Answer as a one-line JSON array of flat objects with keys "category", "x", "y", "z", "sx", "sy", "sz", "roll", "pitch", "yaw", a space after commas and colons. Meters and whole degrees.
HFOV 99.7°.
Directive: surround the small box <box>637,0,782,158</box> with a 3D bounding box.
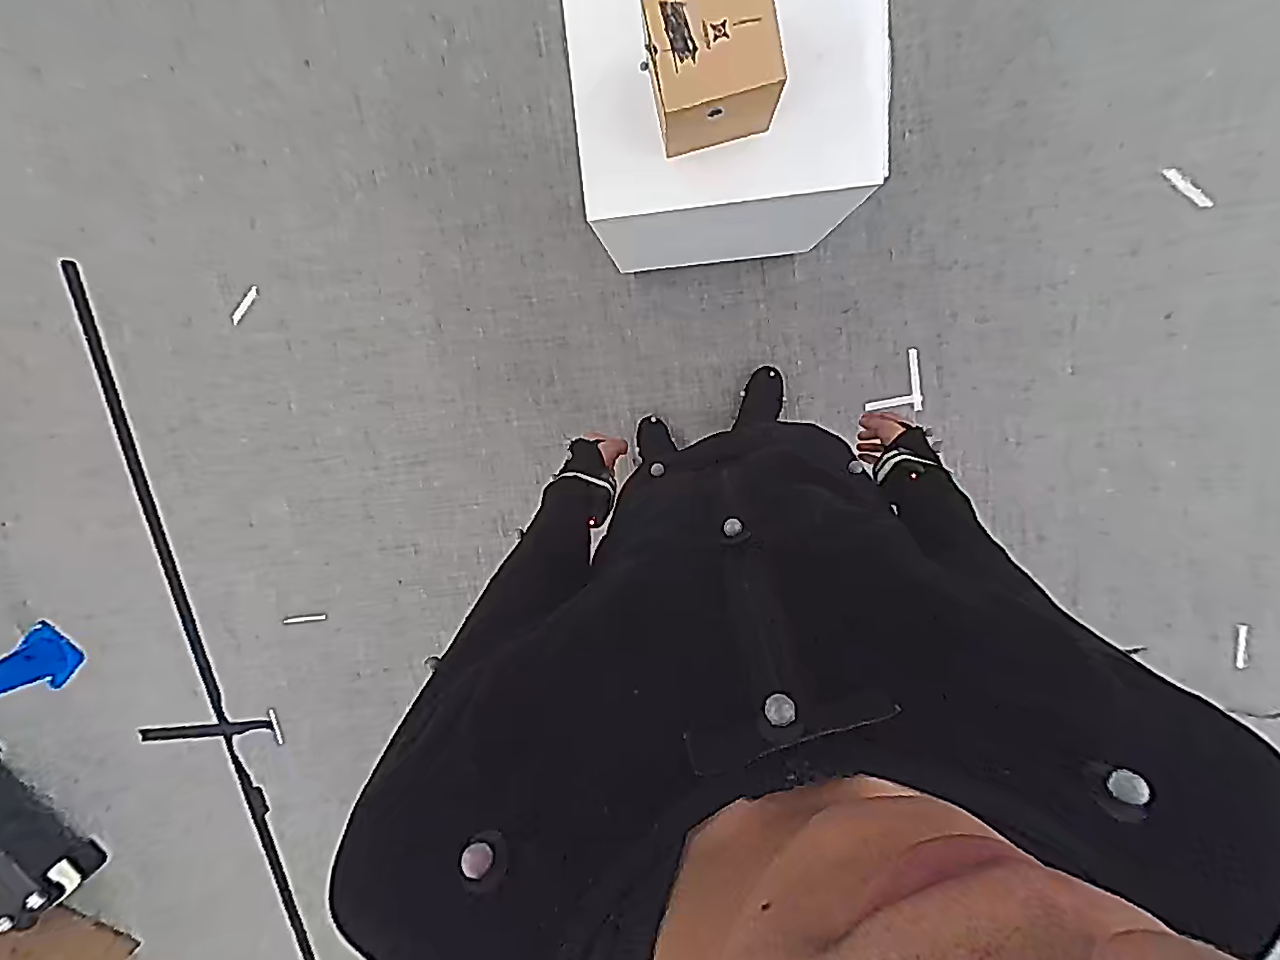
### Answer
[{"category": "small box", "x": 0.102, "y": -0.621, "z": 0.819, "sx": 0.179, "sy": 0.176, "sz": 0.168, "roll": -12, "pitch": 100, "yaw": 6}]
